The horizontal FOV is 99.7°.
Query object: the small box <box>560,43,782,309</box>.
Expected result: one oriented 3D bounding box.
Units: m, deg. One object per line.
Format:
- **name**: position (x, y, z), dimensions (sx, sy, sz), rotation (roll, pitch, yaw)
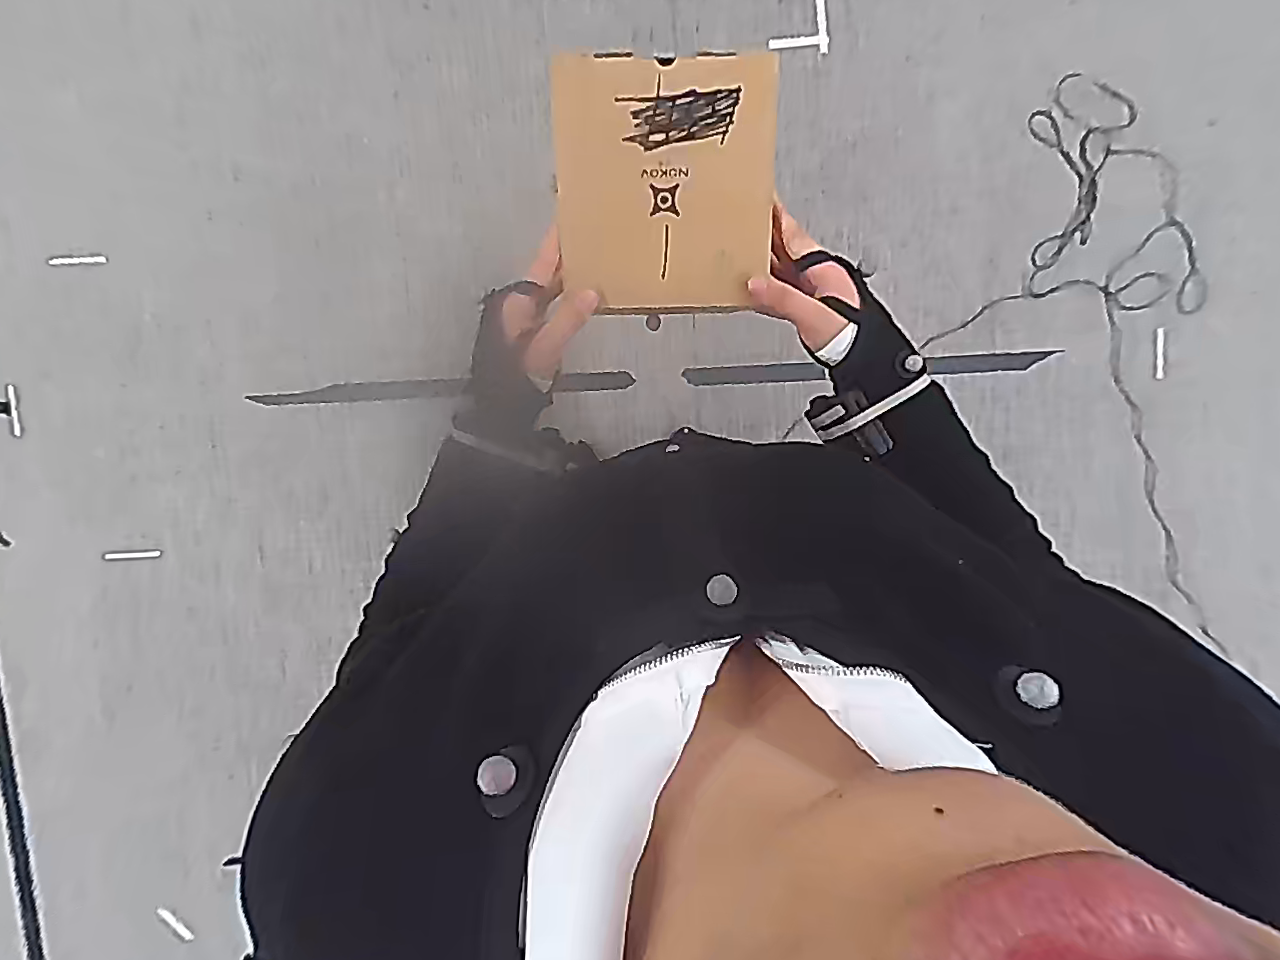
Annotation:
- **small box**: position (0.021, -0.251, 0.489), dimensions (0.168, 0.176, 0.179), rotation (-1, 106, 0)
